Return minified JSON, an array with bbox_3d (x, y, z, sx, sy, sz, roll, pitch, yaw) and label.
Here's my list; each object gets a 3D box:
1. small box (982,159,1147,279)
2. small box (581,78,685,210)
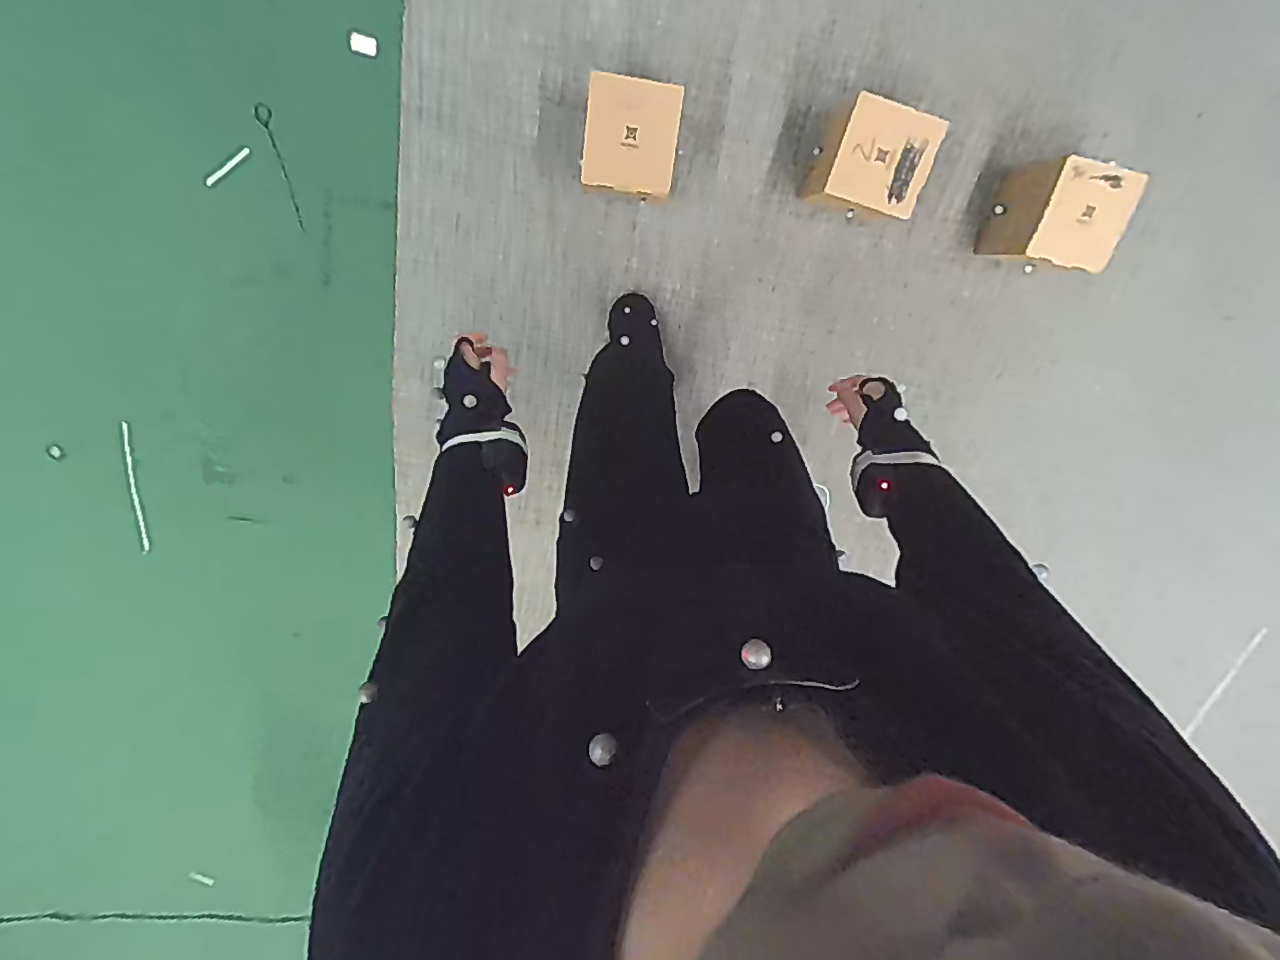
[{"bbox_3d":[0.833,-0.517,1.088,0.168,0.176,0.179,12,112,-5],"label":"small box"},{"bbox_3d":[-0.015,-0.631,1.039,0.168,0.176,0.179,8,111,-4],"label":"small box"}]
